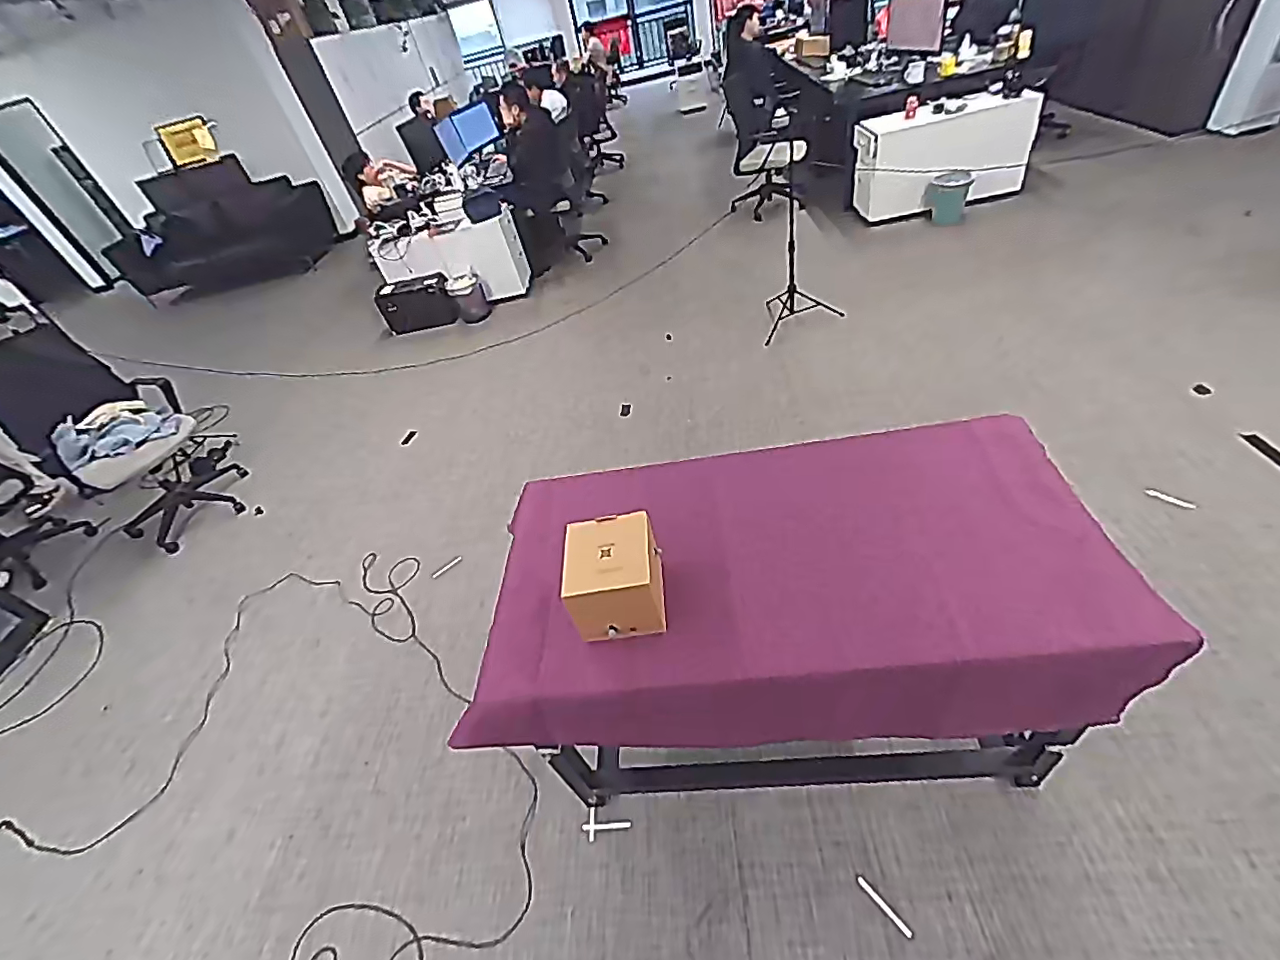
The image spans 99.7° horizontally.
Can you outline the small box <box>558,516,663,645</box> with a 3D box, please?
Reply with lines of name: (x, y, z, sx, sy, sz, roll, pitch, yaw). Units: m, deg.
small box: (-0.051, 0.198, 1.062, 0.168, 0.176, 0.179, -10, 43, 7)
